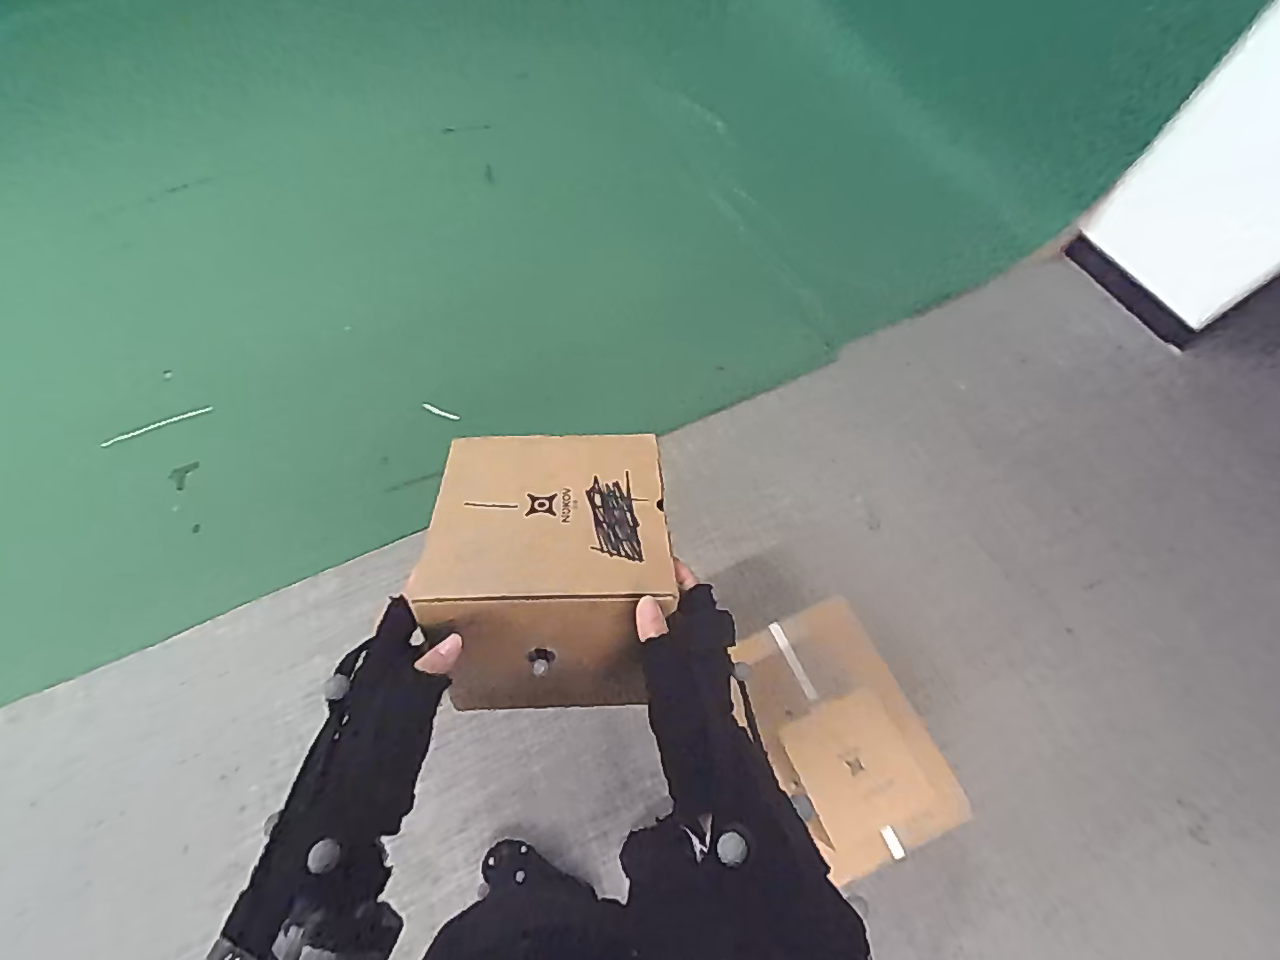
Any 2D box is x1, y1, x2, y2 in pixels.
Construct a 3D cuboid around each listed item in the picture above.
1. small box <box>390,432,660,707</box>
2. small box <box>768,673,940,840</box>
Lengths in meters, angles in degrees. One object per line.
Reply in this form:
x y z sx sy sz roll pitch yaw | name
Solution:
-0.082 0.077 0.462 0.179 0.176 0.168 -3 44 -4 | small box
0.324 0.431 0.865 0.168 0.176 0.179 -24 68 -6 | small box
